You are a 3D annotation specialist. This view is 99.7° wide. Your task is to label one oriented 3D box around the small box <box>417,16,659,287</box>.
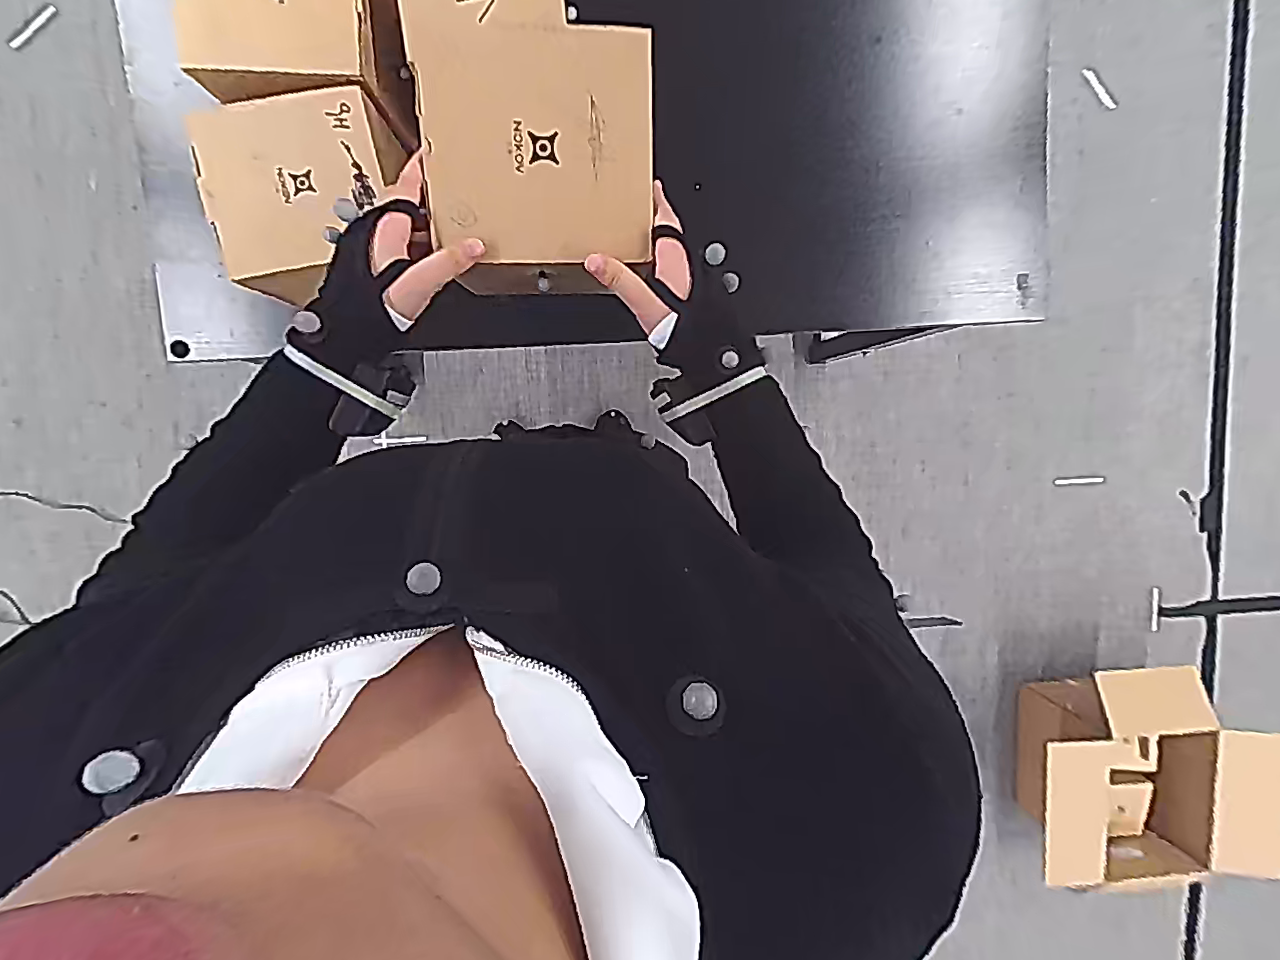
[{"bbox_3d":[-0.080,-0.272,0.488,0.179,0.176,0.168,-3,103,-6],"label":"small box"}]
